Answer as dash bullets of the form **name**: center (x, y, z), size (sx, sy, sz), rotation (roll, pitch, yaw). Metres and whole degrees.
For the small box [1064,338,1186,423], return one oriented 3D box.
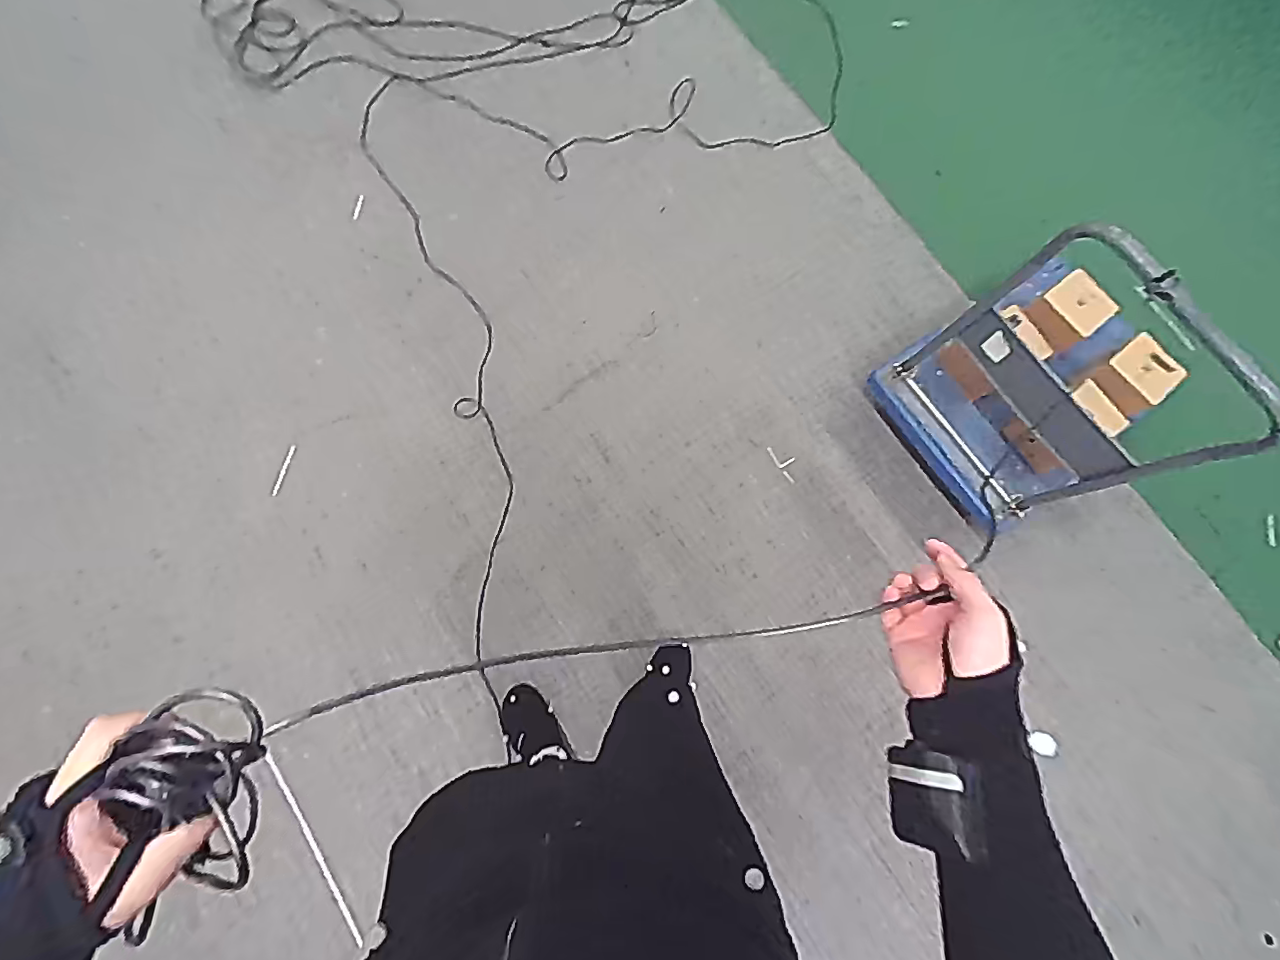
- **small box**: center (1.398, -0.272, 1.572), size (0.179, 0.176, 0.168), rotation (-35, 80, -14)

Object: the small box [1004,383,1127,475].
- **small box**: center (1.174, -0.137, 1.505), size (0.179, 0.176, 0.168), rotation (-30, 80, -13)

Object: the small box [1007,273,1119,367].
- **small box**: center (1.246, -0.469, 1.611), size (0.179, 0.176, 0.168), rotation (-35, 81, -15)
